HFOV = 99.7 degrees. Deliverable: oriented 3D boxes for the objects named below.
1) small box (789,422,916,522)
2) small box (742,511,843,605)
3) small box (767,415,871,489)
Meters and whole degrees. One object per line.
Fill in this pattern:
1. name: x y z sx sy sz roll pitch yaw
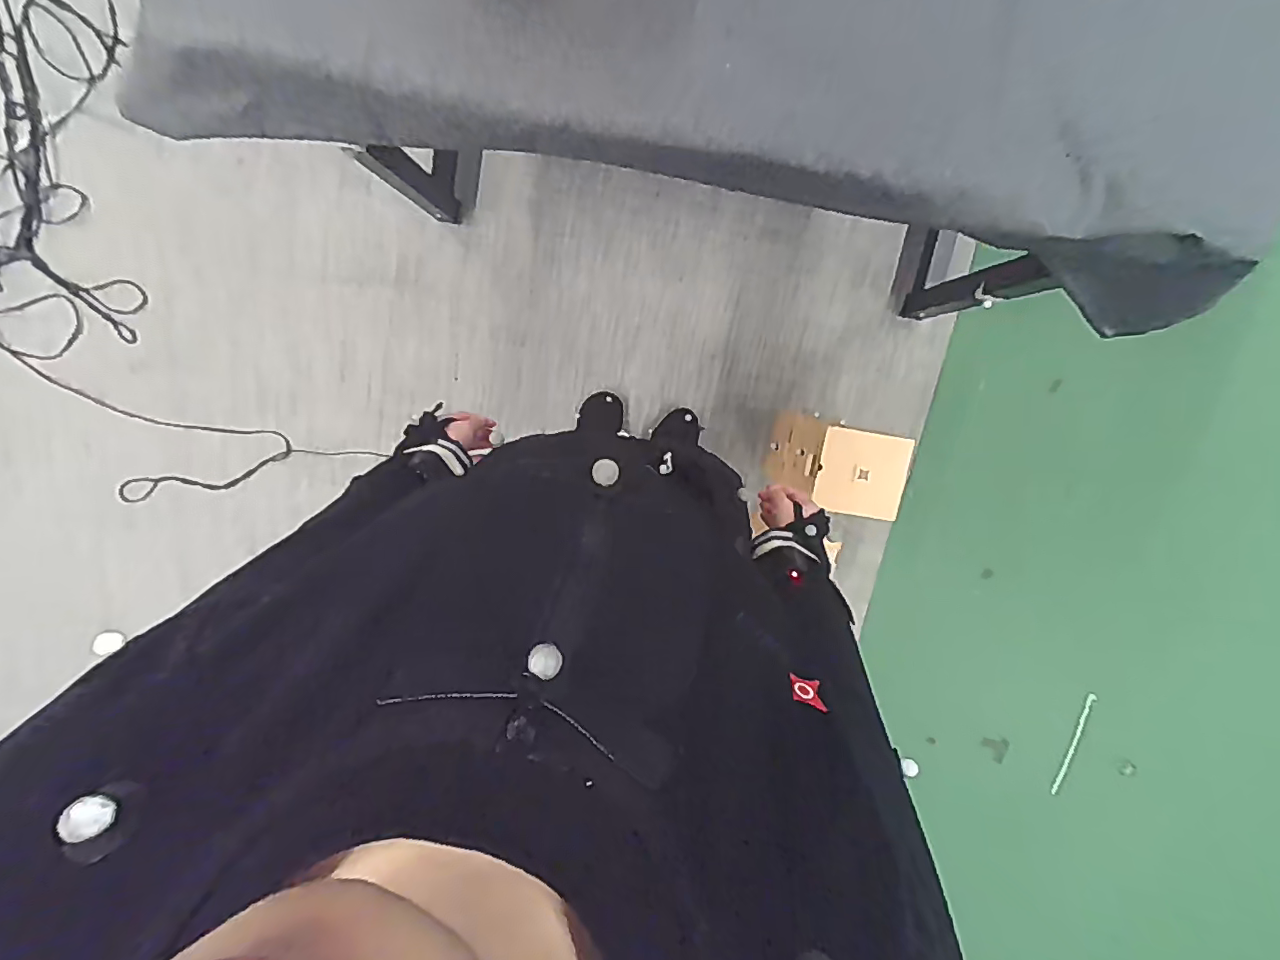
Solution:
1. small box: 0.427 -0.023 1.114 0.179 0.176 0.168 9 100 -1
2. small box: 0.364 0.182 1.319 0.179 0.176 0.168 13 99 0
3. small box: 0.411 -0.057 1.275 0.179 0.176 0.168 10 99 -1
